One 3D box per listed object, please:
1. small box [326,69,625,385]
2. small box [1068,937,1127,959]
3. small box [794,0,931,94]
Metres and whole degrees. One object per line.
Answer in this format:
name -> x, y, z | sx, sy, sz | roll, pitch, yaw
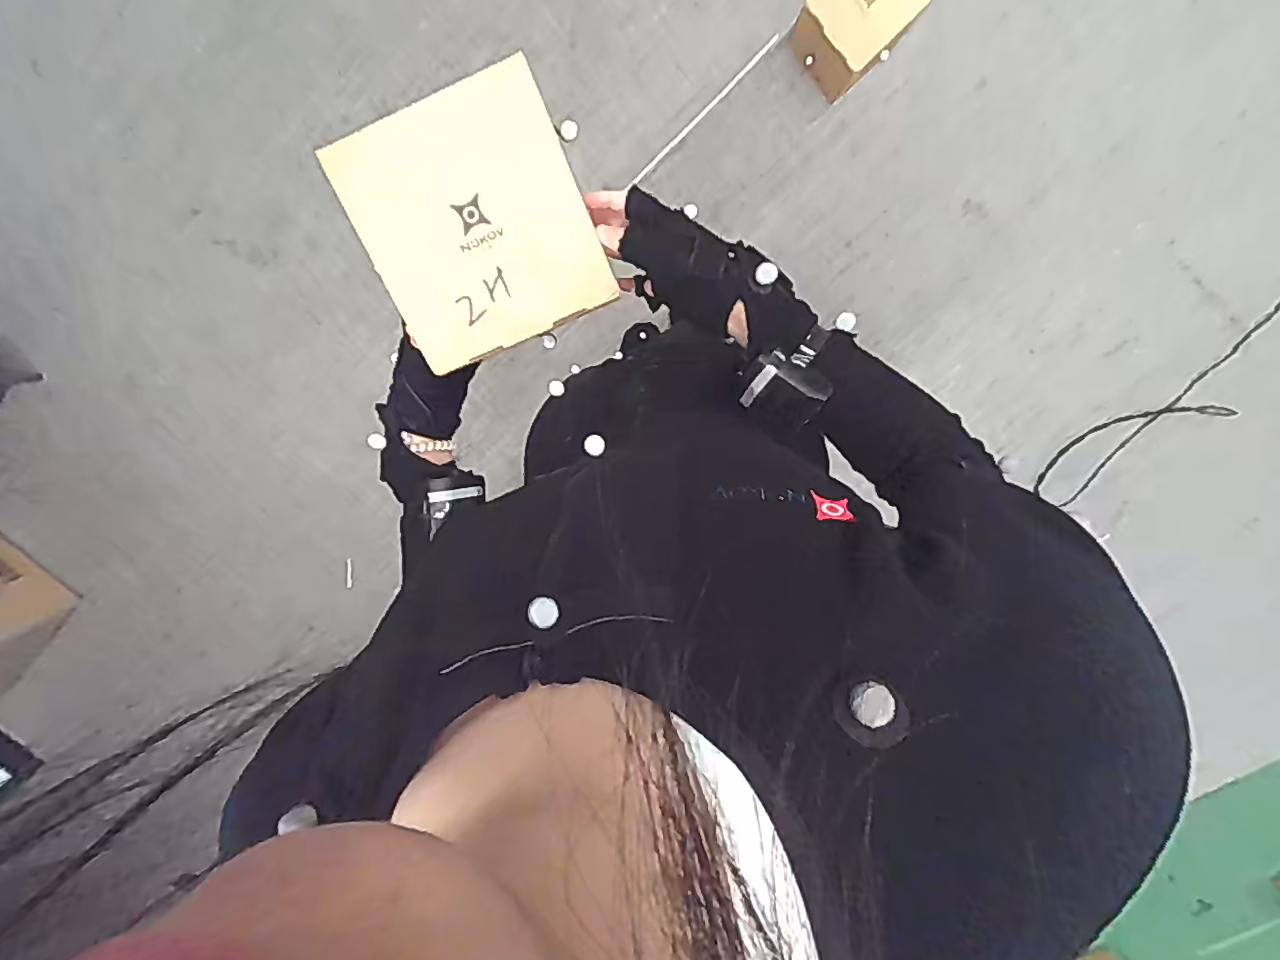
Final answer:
small box -> -0.122, -0.204, 0.478 | 0.168, 0.176, 0.179 | -22, 109, 5
small box -> 1.661, 1.773, 1.903 | 0.179, 0.176, 0.168 | -38, 102, 13
small box -> 0.437, -0.934, 1.087 | 0.179, 0.176, 0.168 | -41, 102, 15
